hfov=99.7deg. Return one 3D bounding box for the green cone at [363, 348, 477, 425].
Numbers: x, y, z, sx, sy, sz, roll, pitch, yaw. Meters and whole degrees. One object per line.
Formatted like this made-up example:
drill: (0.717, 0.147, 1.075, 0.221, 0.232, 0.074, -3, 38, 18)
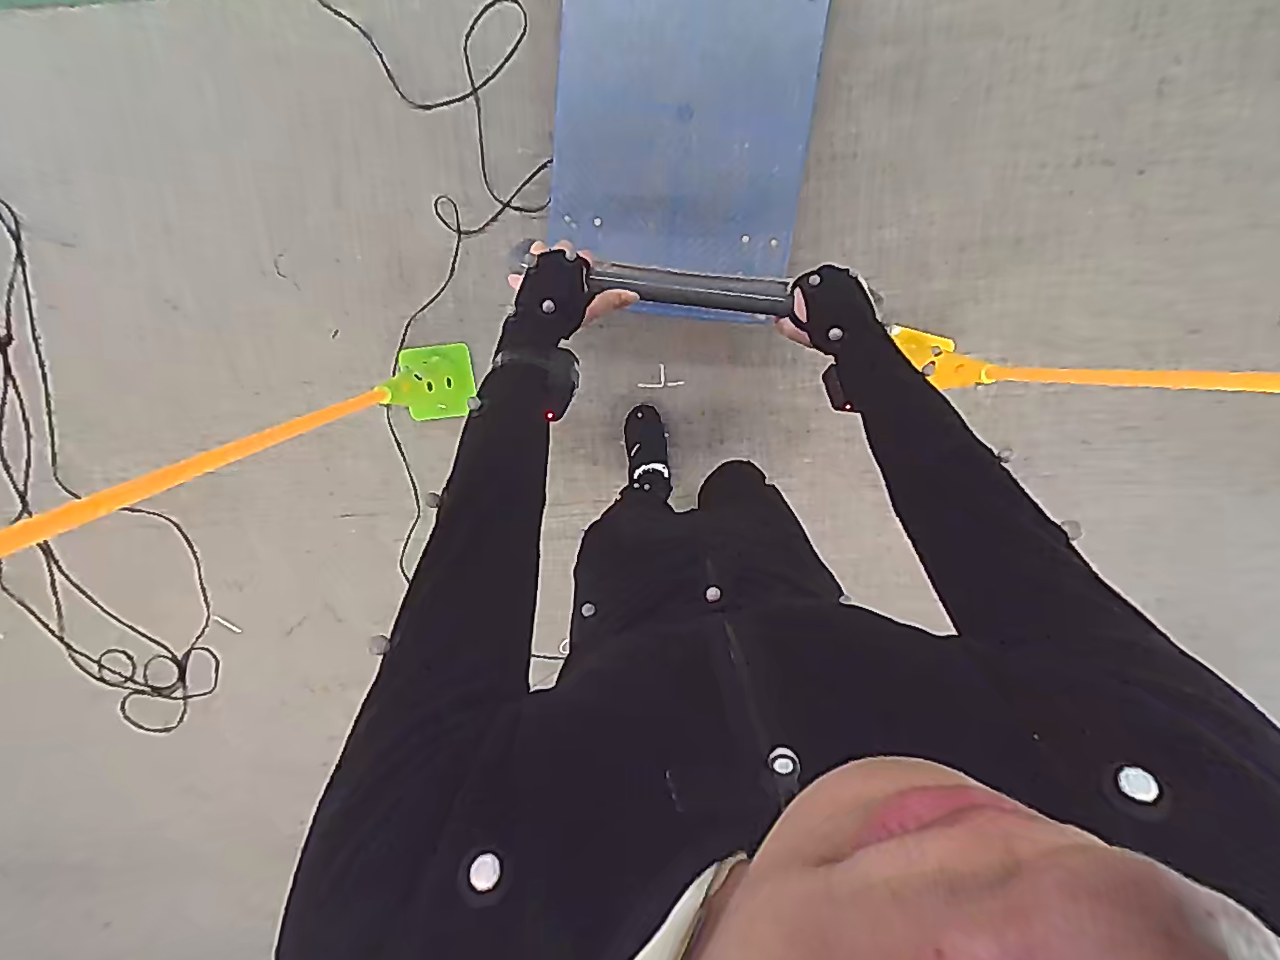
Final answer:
green cone: (-0.571, -0.220, 1.342, 0.202, 0.368, 0.200, -7, 103, 3)
